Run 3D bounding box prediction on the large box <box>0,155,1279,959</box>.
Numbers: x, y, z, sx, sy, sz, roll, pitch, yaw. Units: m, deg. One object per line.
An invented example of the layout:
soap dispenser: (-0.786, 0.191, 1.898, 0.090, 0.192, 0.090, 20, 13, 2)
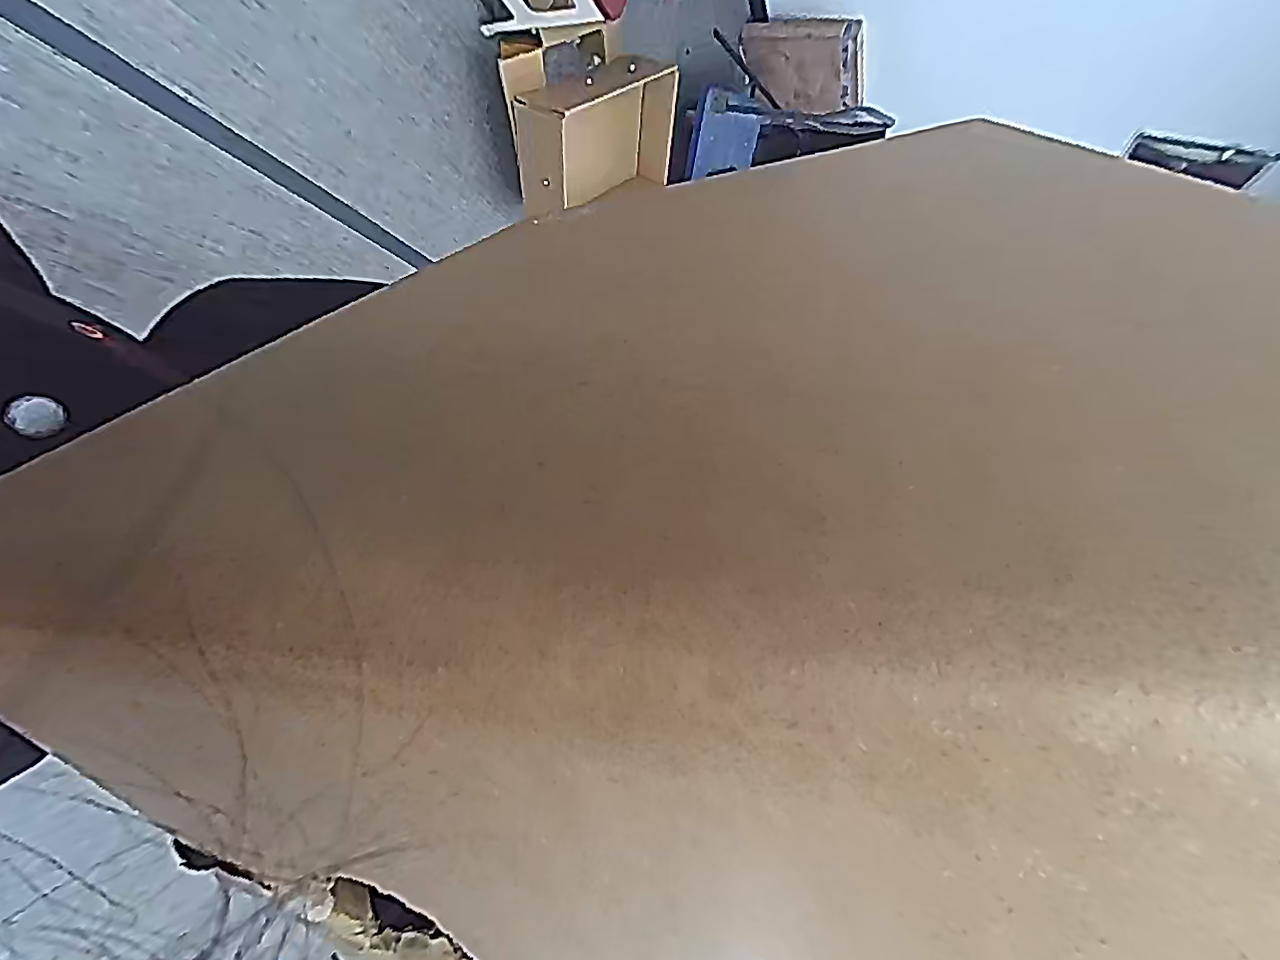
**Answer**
large box: (0.039, 0.032, 0.318, 0.408, 0.320, 0.320, -66, 149, -51)
